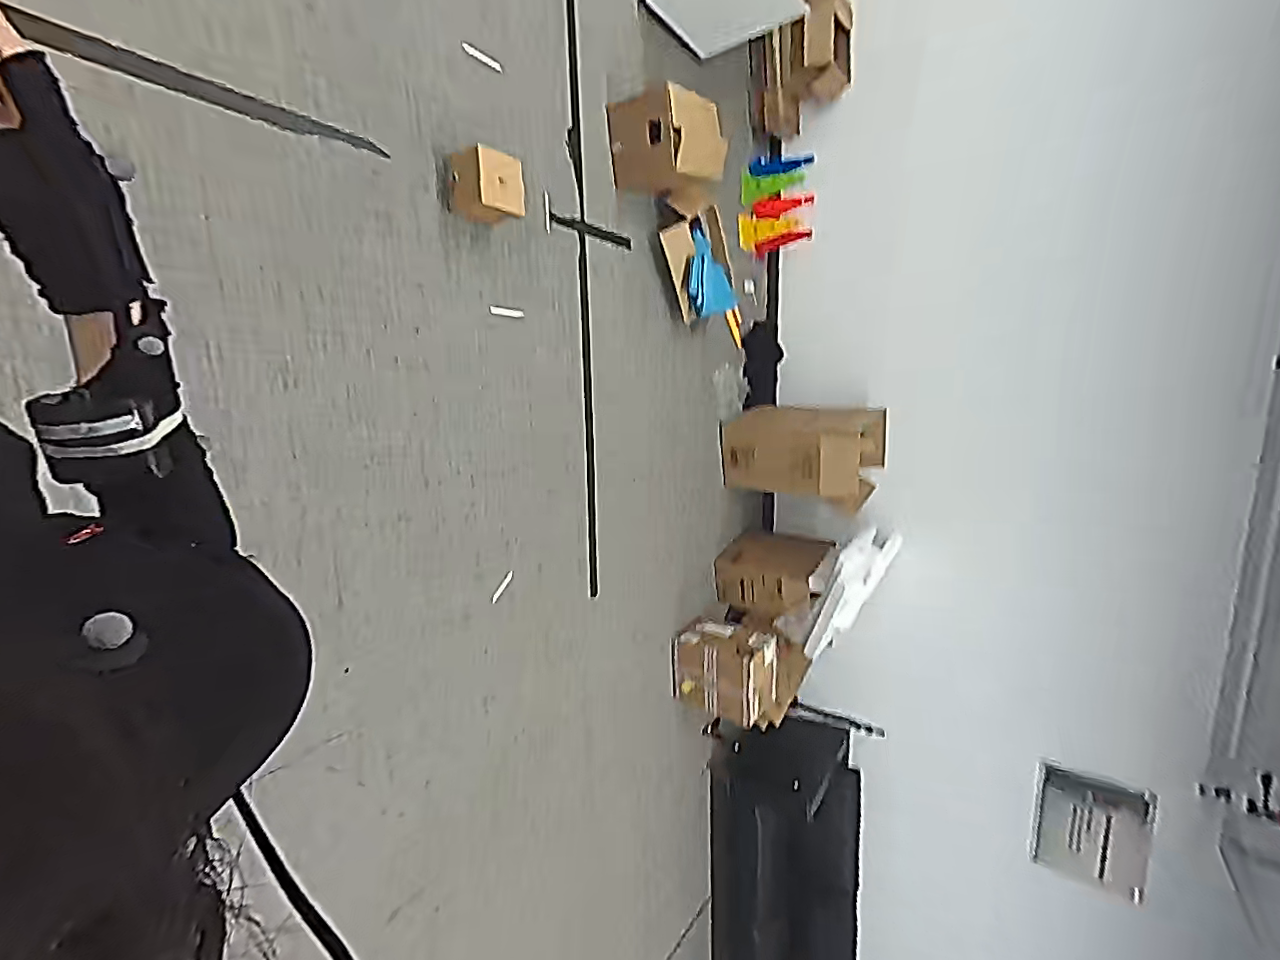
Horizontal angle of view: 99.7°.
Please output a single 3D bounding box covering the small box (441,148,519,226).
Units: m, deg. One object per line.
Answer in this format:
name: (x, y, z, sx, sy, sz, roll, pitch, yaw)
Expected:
small box: (-0.510, -0.925, 1.727, 0.179, 0.176, 0.168, -13, 104, -53)
